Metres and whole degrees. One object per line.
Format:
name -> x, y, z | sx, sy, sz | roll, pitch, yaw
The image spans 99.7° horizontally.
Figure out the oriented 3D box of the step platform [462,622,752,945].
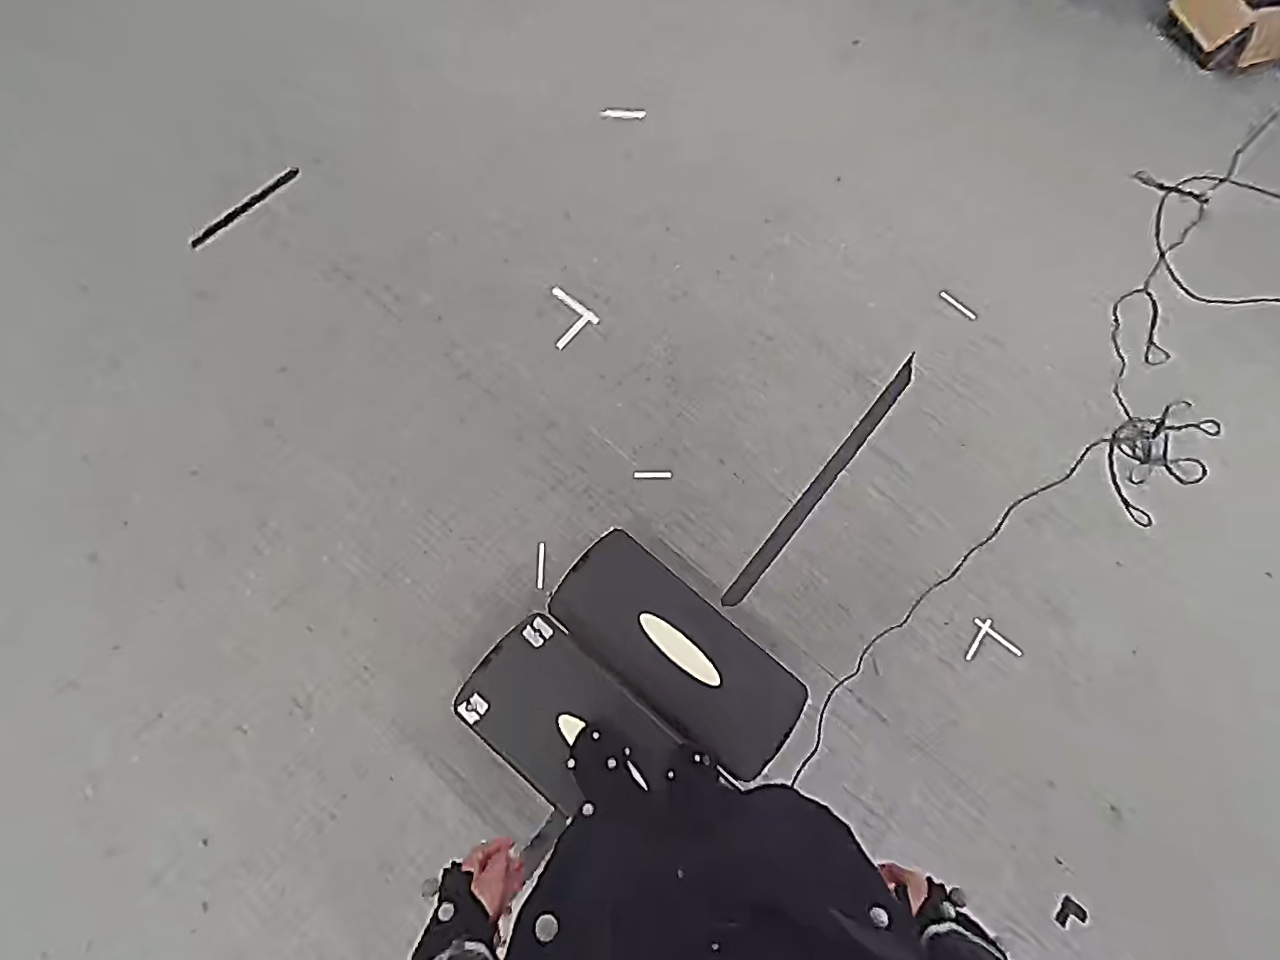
step platform -> -0.081, 0.648, 1.222 | 0.684, 0.204, 0.286 | 43, 72, 9
